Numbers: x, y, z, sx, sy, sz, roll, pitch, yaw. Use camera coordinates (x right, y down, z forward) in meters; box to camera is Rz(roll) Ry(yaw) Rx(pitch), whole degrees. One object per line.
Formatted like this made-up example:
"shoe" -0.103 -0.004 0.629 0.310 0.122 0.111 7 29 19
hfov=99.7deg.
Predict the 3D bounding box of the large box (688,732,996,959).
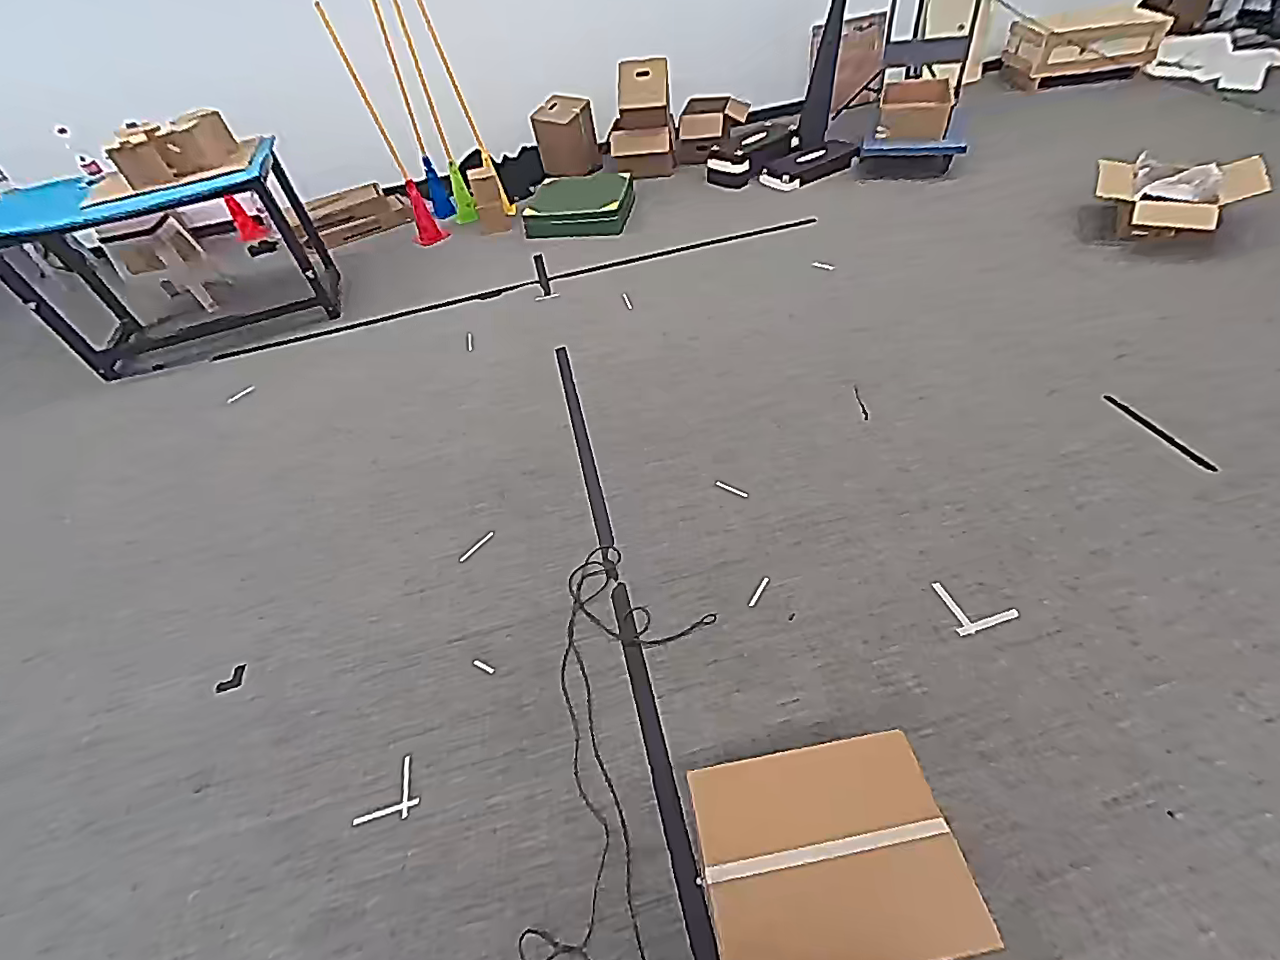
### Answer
"large box" 0.322 0.709 0.990 0.408 0.320 0.320 -11 46 -2
